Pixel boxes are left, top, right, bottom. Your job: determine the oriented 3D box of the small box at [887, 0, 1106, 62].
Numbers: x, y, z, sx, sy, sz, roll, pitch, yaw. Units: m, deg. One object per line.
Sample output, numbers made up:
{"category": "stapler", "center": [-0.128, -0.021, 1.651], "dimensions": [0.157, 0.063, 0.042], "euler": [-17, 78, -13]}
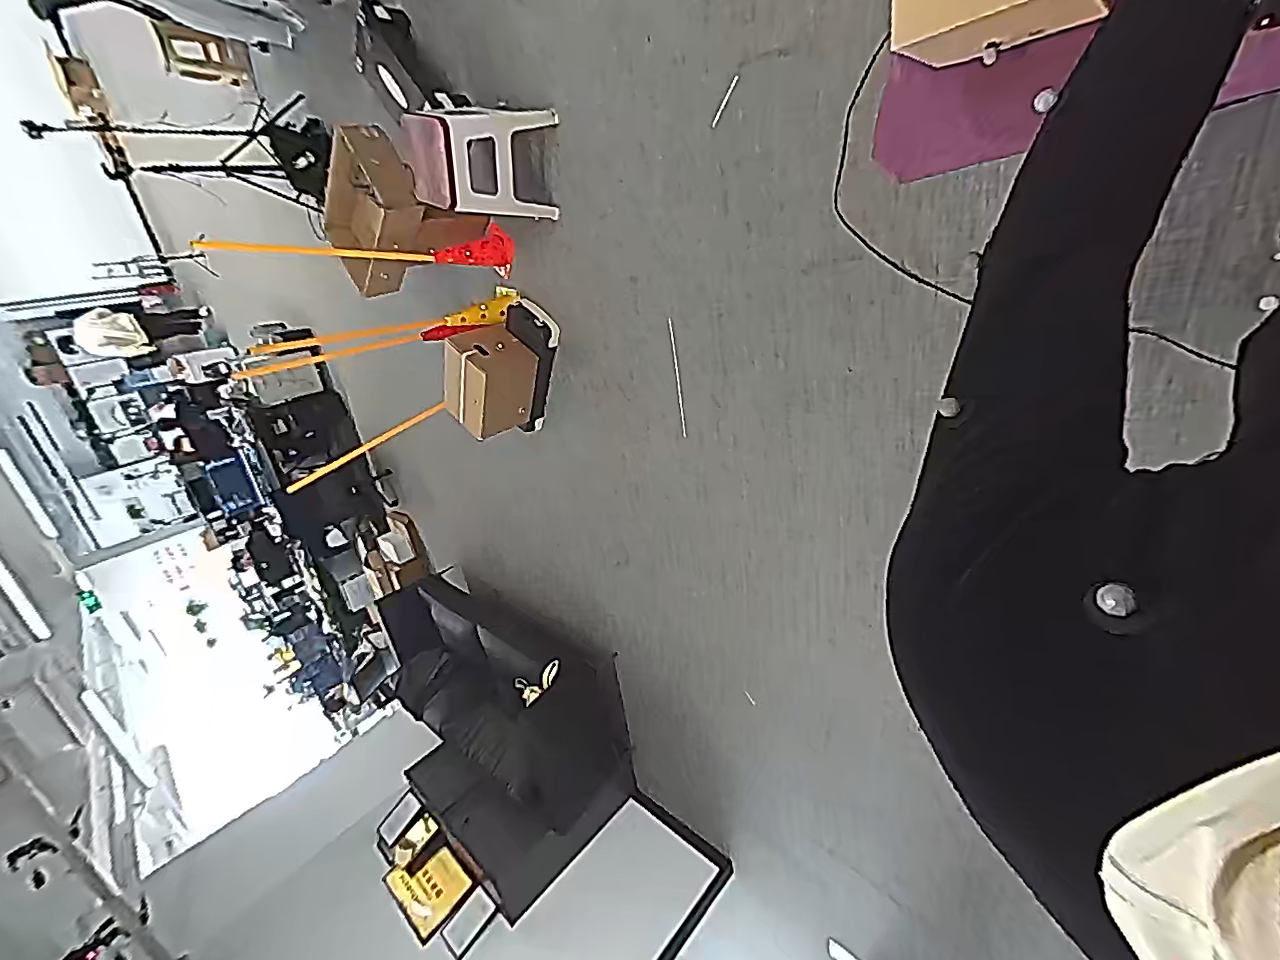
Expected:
{"category": "small box", "center": [0.366, -0.556, 0.539], "dimensions": [0.168, 0.176, 0.179], "euler": [14, 121, 43]}
